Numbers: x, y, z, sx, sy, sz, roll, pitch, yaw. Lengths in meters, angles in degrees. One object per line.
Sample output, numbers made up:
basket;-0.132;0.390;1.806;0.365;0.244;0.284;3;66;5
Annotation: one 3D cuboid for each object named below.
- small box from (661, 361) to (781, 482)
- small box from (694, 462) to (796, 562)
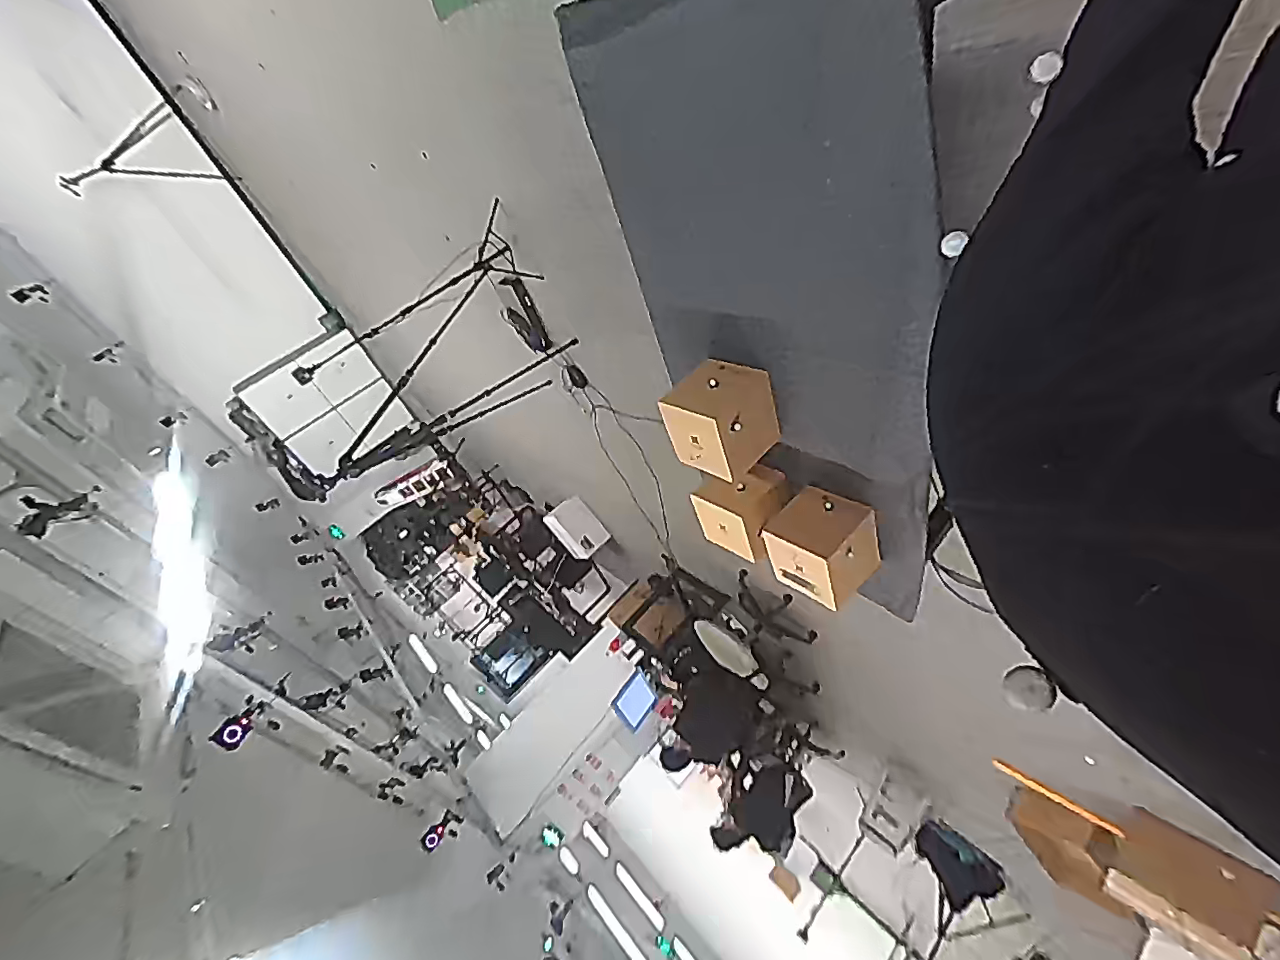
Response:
small box;0.177;-0.133;1.157;0.168;0.176;0.179;26;151;44
small box;0.265;0.064;1.347;0.168;0.176;0.179;25;150;44
